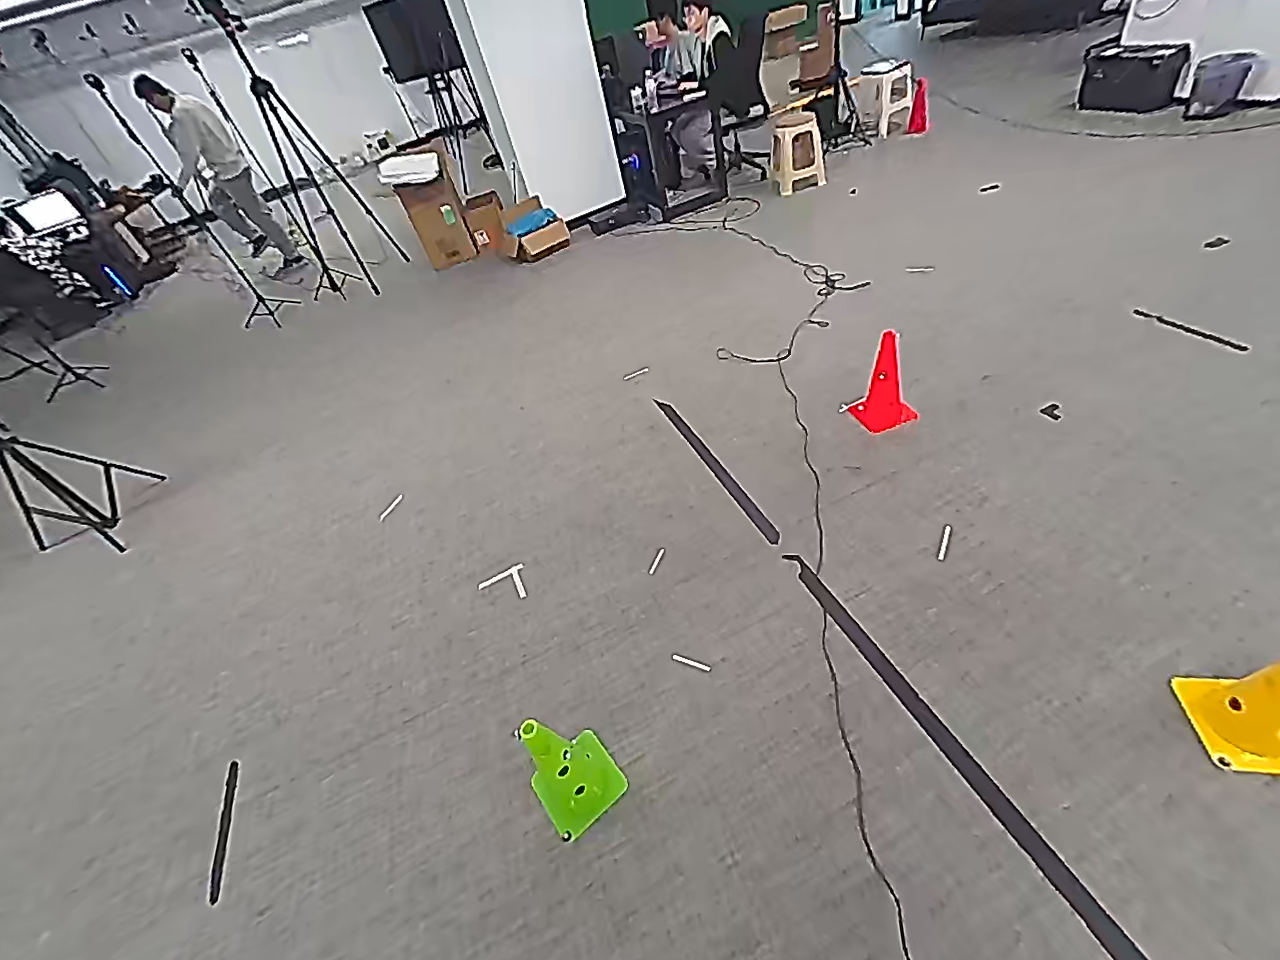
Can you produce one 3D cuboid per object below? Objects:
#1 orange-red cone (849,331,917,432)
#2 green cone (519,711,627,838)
[{"bbox_3d":[0.917,-0.388,2.013,0.198,0.360,0.199,-20,43,-2],"label":"orange-red cone"},{"bbox_3d":[-0.197,0.649,1.281,0.200,0.368,0.202,-36,43,-20],"label":"green cone"}]
